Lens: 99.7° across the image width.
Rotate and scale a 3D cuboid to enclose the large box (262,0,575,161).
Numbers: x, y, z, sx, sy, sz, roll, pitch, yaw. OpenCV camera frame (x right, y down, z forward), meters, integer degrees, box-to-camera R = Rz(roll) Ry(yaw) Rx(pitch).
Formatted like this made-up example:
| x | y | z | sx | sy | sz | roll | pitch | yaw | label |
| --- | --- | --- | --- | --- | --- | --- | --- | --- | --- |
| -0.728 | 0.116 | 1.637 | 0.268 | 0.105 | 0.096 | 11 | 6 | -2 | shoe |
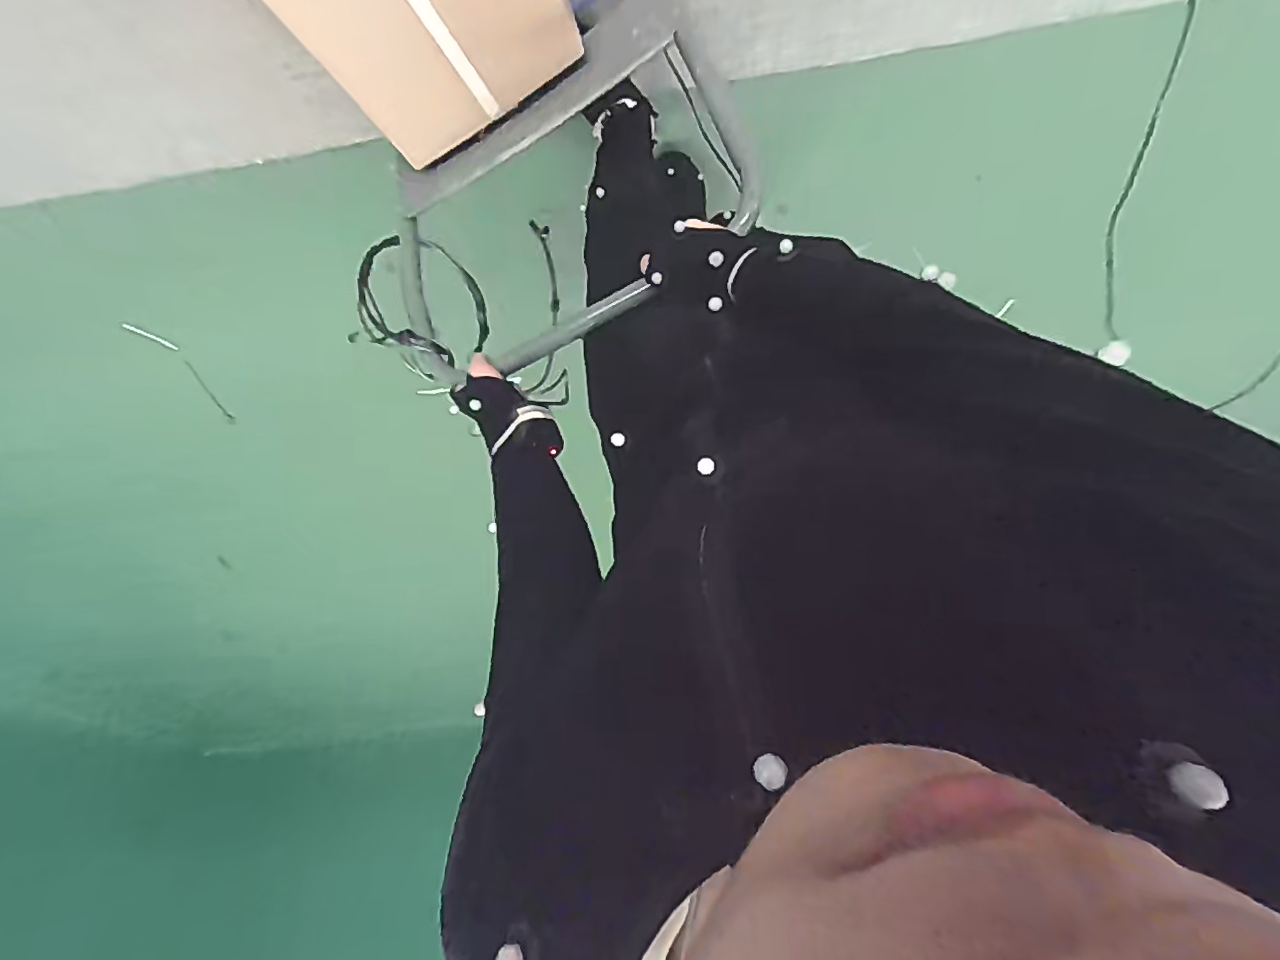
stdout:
| x | y | z | sx | sy | sz | roll | pitch | yaw | label |
| --- | --- | --- | --- | --- | --- | --- | --- | --- | --- |
| -0.330 | -0.742 | 0.699 | 0.320 | 0.320 | 0.408 | -22 | 150 | 16 | large box |
